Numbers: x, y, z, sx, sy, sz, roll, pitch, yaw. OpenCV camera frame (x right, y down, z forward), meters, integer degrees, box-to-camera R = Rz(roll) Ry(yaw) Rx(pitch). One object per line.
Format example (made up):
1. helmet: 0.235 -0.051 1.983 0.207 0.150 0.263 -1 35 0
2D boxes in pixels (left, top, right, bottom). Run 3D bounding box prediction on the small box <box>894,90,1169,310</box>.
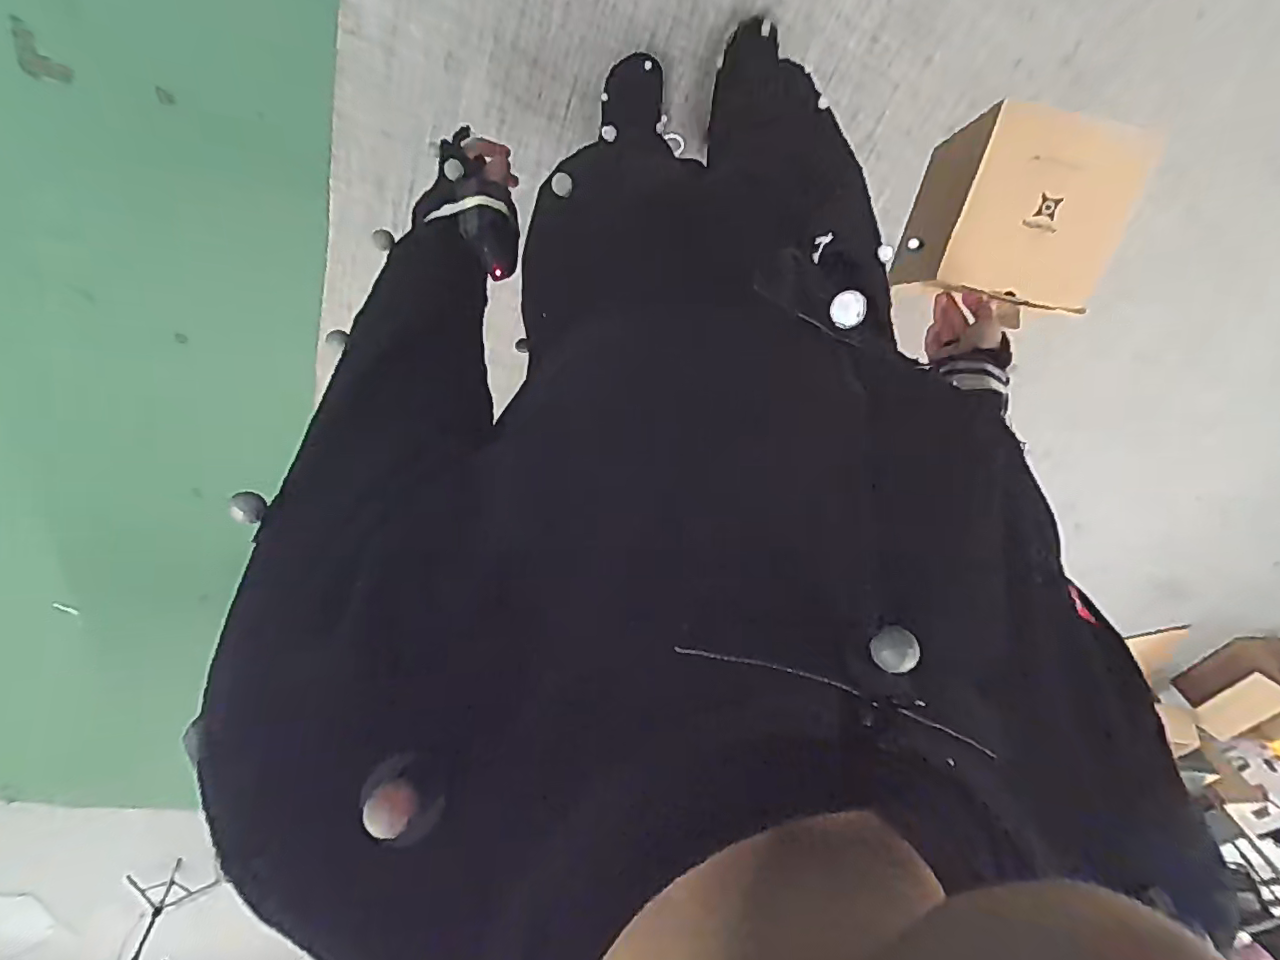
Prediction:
1. small box: 0.418 -0.300 0.619 0.168 0.176 0.179 13 107 1
